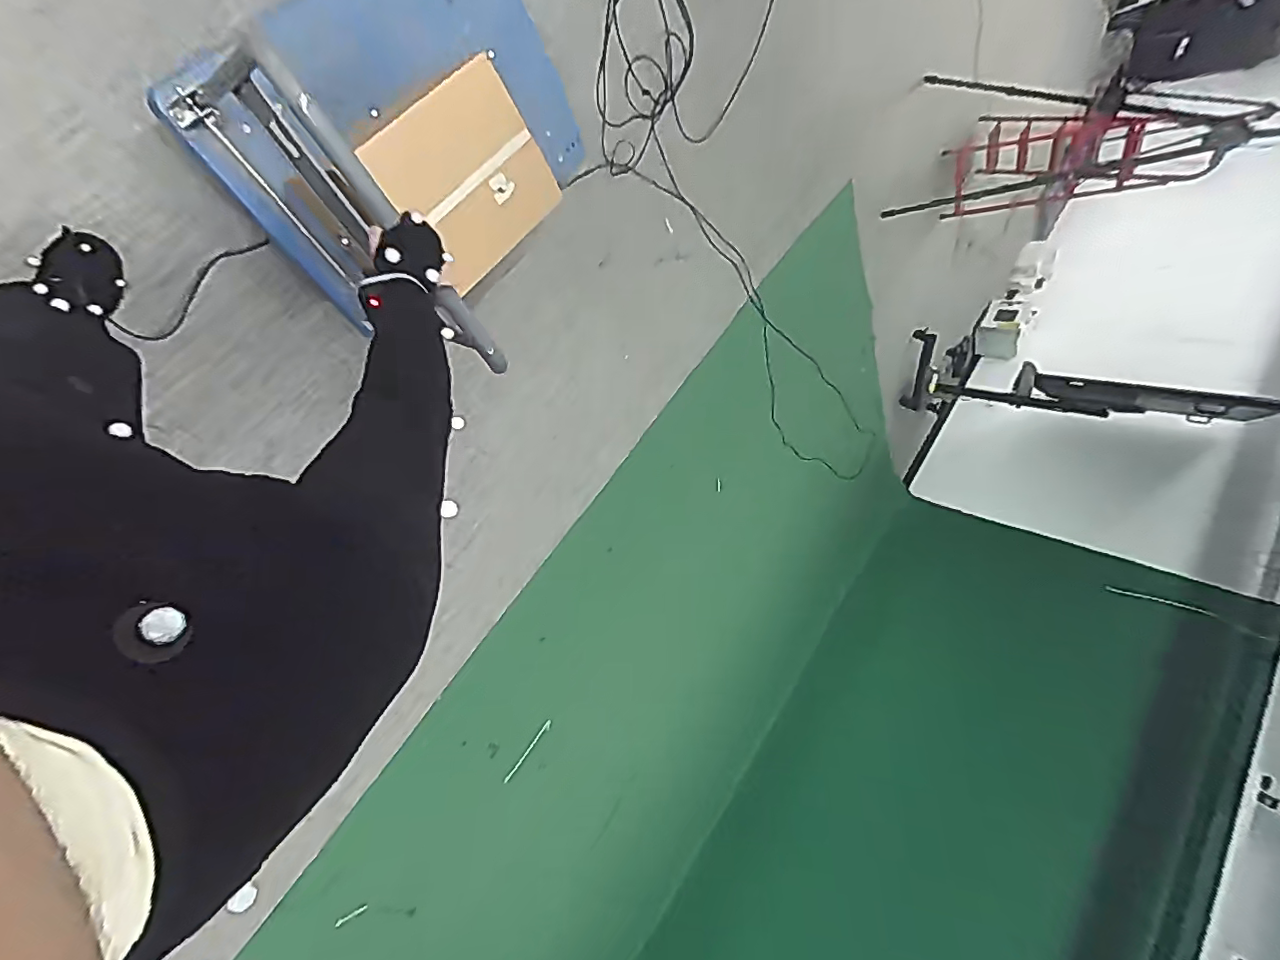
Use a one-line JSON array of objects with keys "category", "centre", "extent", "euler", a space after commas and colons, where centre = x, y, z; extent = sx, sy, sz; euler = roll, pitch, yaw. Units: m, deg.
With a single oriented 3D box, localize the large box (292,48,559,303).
[{"category": "large box", "centre": [-0.471, -0.657, 1.216], "extent": [0.408, 0.320, 0.320], "euler": [-54, 138, -18]}]
